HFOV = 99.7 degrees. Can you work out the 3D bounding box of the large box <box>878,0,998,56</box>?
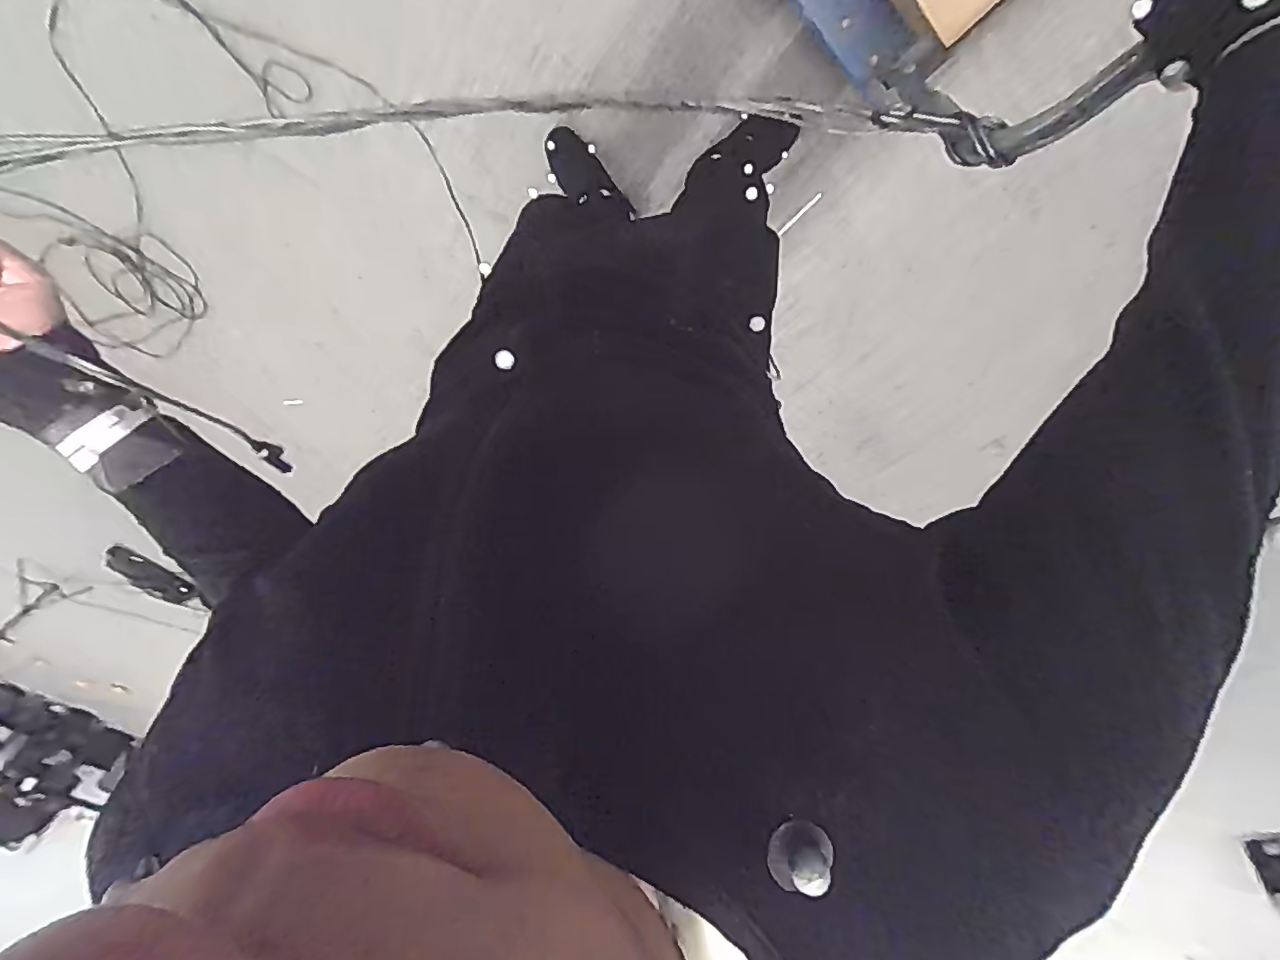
[{"bbox_3d":[0.390,-0.862,0.691,0.408,0.320,0.320,39,130,-20],"label":"large box"}]
